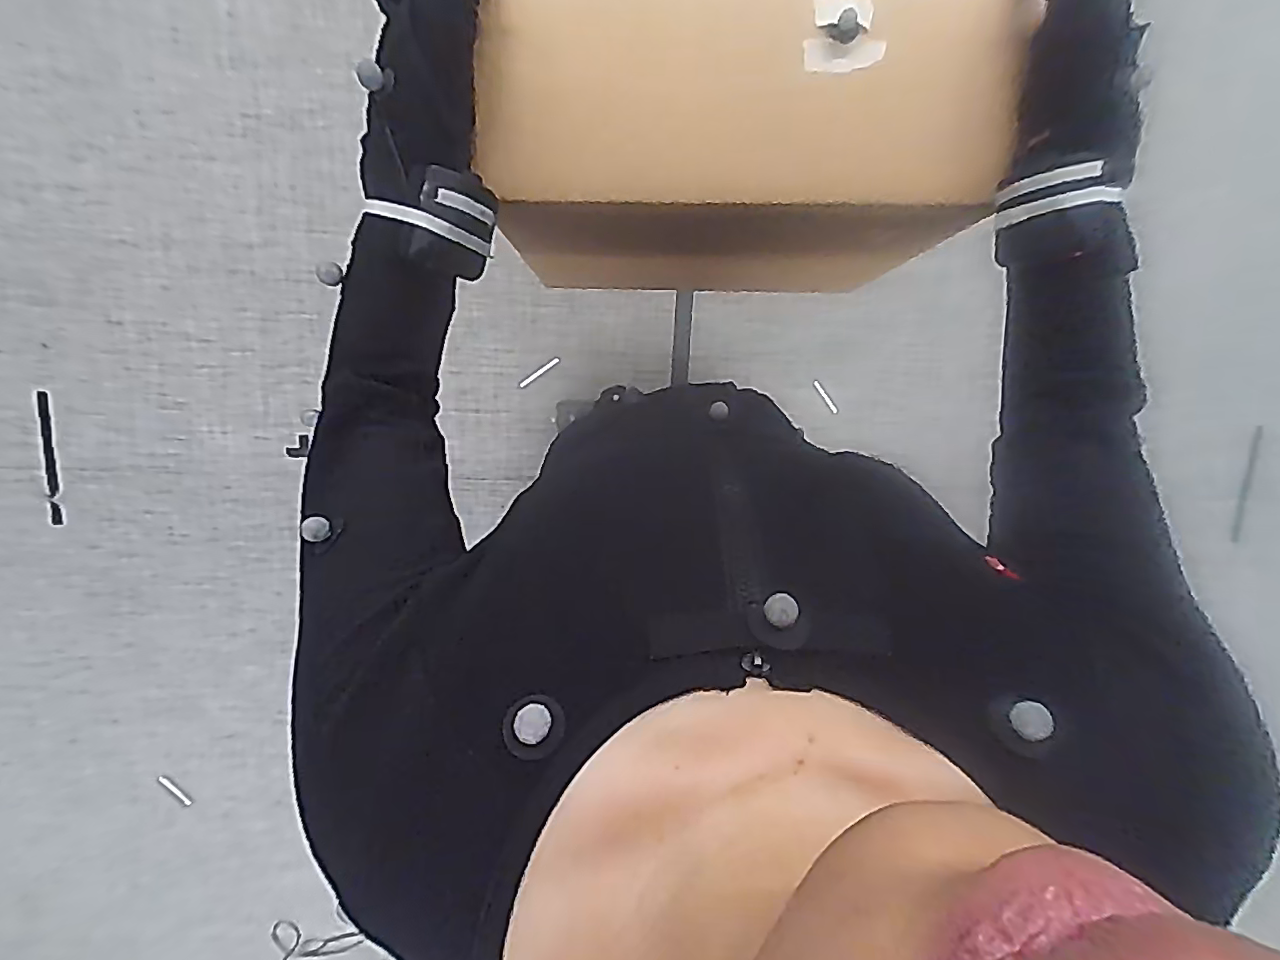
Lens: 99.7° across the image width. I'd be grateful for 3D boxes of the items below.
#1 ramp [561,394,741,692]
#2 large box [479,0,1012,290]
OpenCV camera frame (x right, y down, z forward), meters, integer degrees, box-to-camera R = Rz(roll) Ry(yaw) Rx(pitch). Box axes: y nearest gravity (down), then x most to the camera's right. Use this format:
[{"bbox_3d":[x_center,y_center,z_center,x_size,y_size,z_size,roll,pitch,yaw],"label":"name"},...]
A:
[{"bbox_3d":[0.018,0.240,1.627,0.509,0.206,0.991,0,101,-2],"label":"ramp"},{"bbox_3d":[0.075,-0.387,0.547,0.408,0.320,0.320,0,98,0],"label":"large box"}]
